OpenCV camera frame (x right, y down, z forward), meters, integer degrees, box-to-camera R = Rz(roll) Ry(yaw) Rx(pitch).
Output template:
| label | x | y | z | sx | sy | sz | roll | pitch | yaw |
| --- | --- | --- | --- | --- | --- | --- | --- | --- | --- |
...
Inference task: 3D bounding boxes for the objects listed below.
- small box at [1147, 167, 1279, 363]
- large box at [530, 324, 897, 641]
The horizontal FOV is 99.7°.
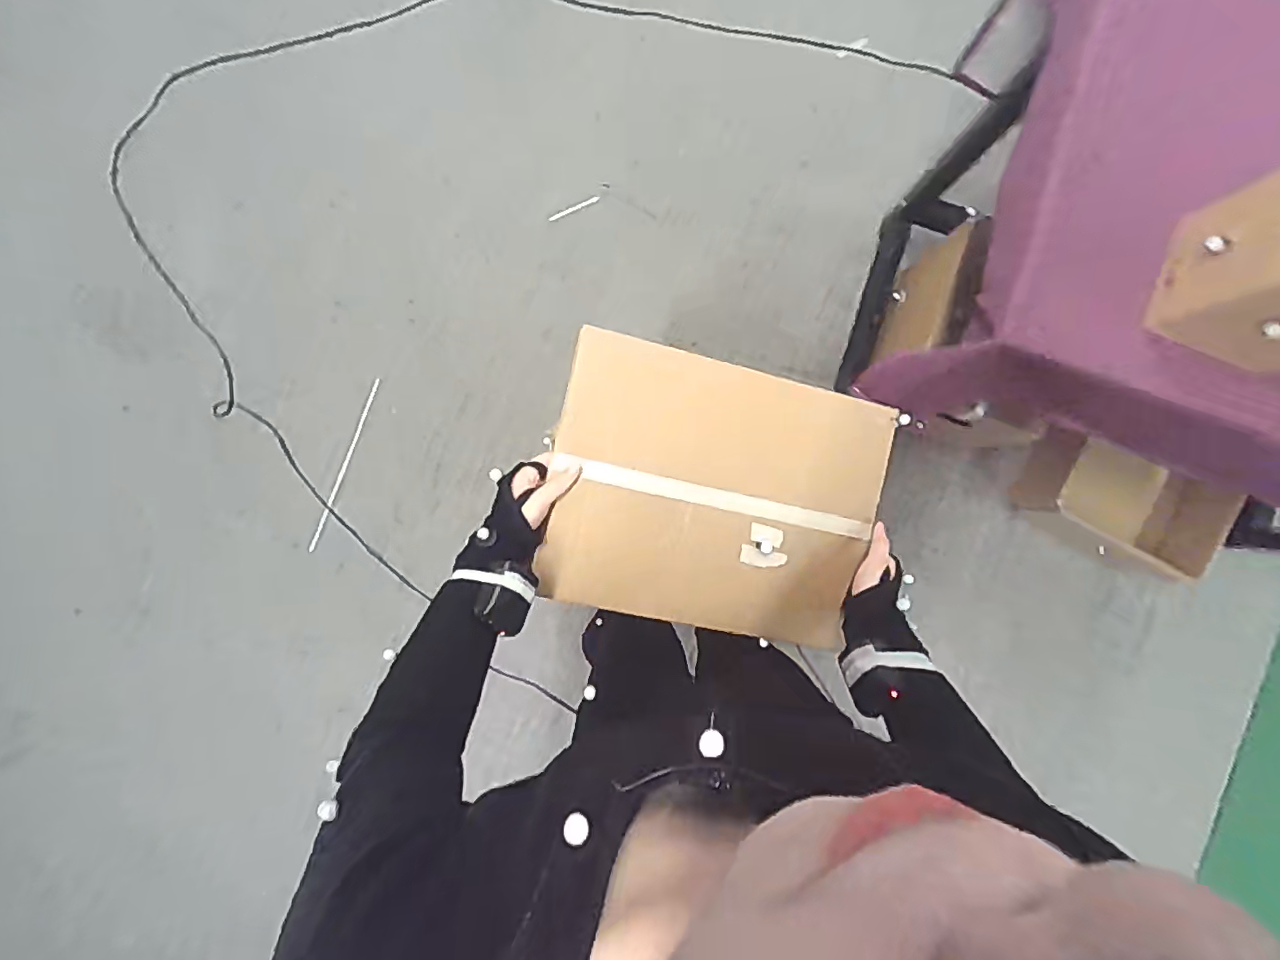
| label | x | y | z | sx | sy | sz | roll | pitch | yaw |
| --- | --- | --- | --- | --- | --- | --- | --- | --- | --- |
| small box | 0.785 | -0.258 | 0.652 | 0.179 | 0.176 | 0.168 | 22 | 89 | 0 |
| large box | 0.071 | 0.004 | 0.784 | 0.408 | 0.320 | 0.320 | 13 | 92 | -10 |
